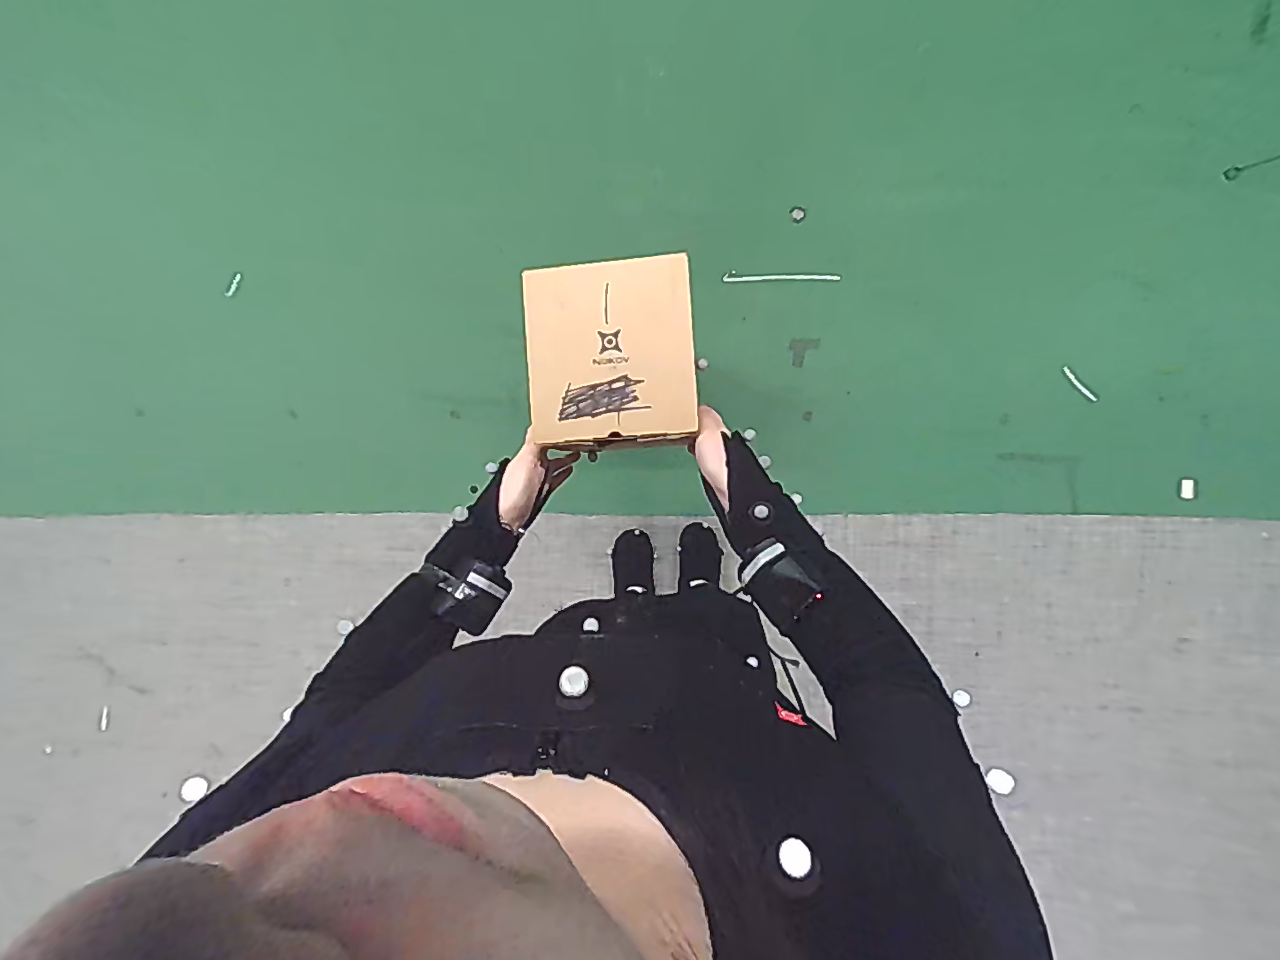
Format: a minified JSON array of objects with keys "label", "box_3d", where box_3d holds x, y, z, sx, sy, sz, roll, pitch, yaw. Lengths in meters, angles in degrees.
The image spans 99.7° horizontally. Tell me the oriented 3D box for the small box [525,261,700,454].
[{"label":"small box","box_3d":[-0.019,-0.119,0.601,0.168,0.176,0.179,-3,90,6]}]
